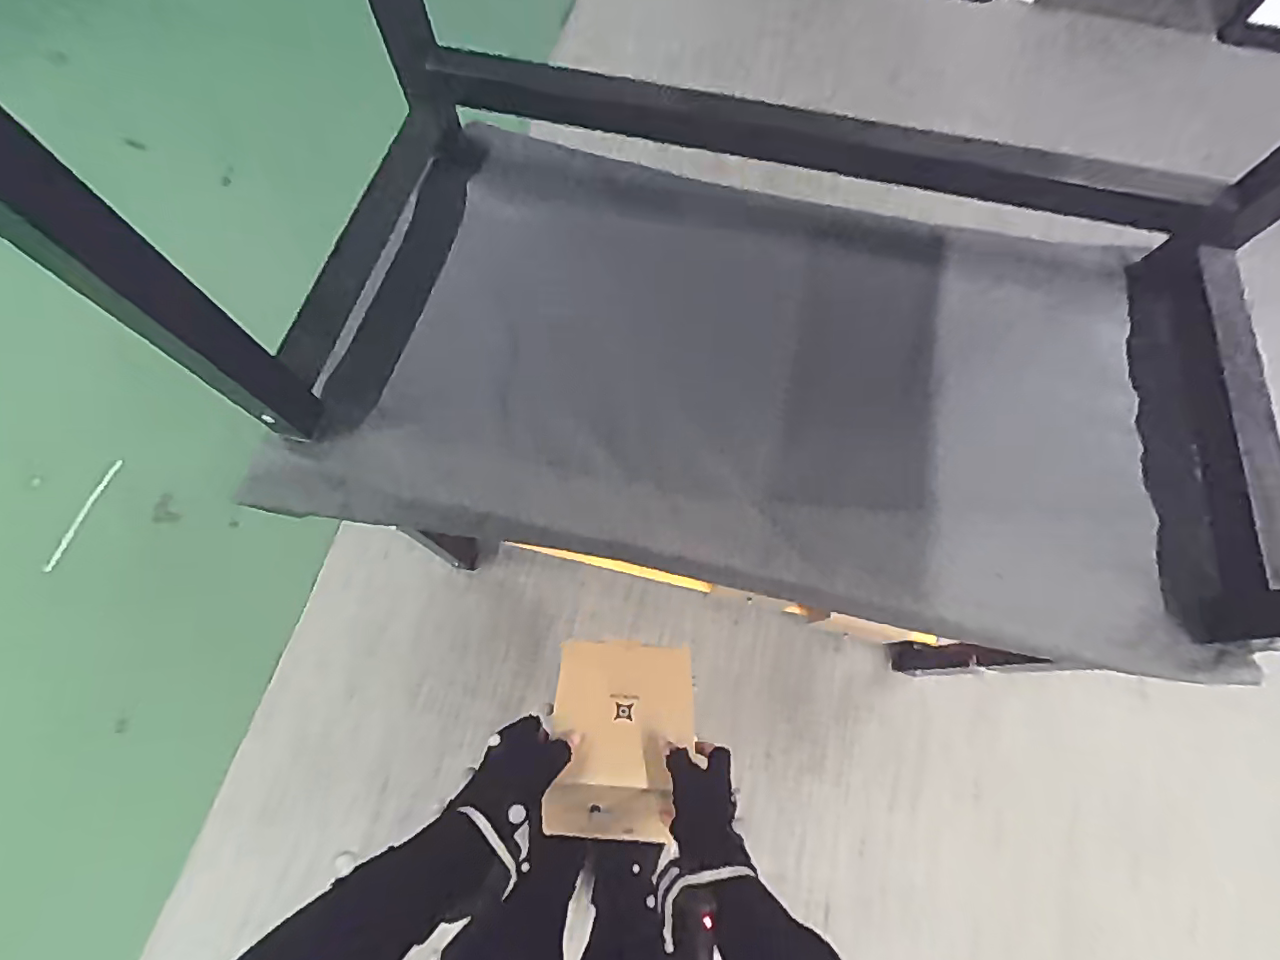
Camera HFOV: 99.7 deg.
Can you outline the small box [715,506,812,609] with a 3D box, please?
[{"bbox_3d":[0.267,0.179,1.201,0.168,0.176,0.179,12,70,3],"label":"small box"}]
